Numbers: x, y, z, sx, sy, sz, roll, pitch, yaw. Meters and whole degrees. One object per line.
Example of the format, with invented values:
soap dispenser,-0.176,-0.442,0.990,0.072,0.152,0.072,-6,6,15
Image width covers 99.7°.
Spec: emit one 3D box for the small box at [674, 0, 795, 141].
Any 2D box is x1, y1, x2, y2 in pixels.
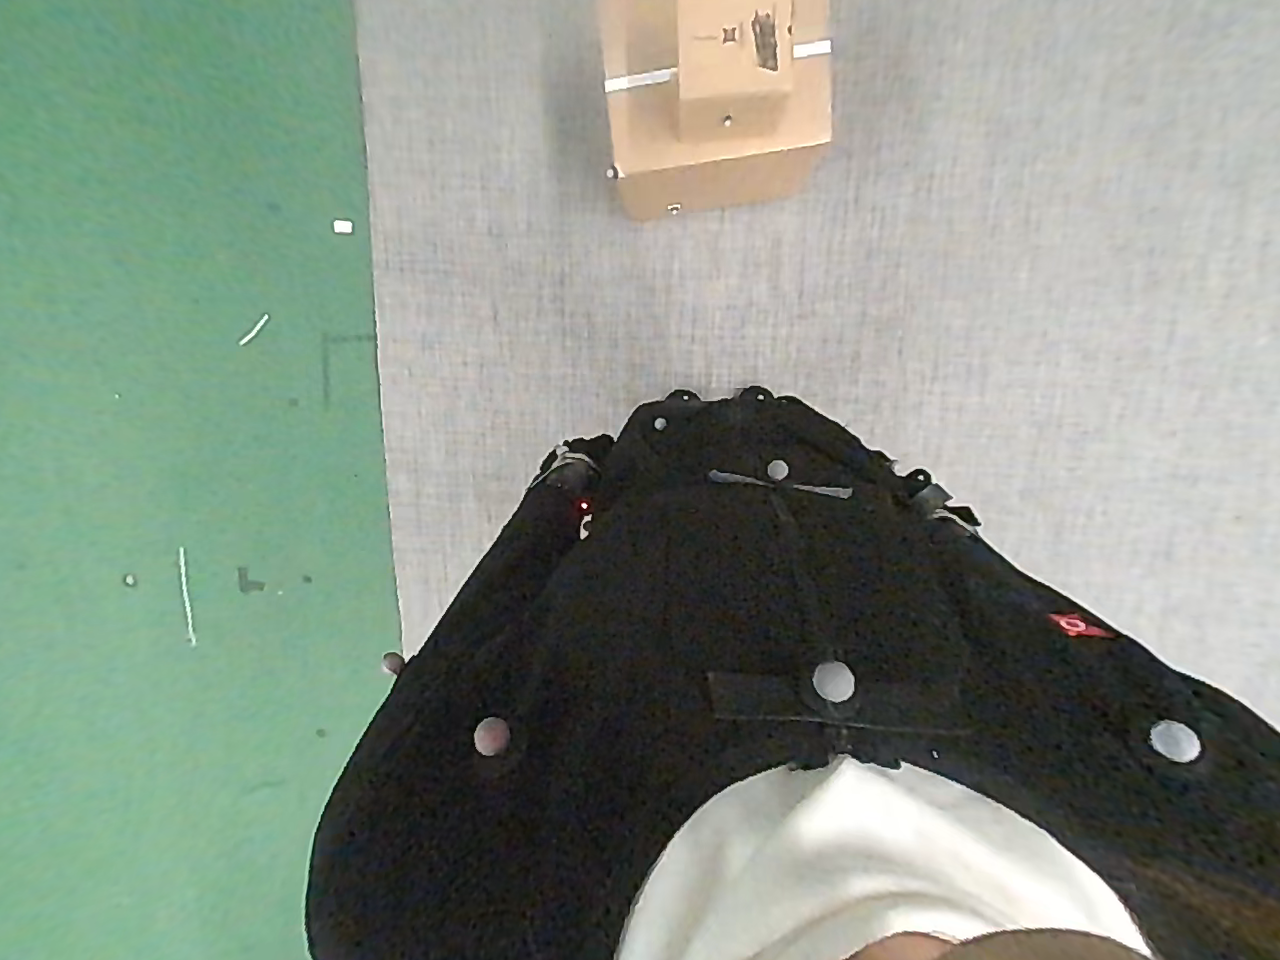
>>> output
small box,0.149,-0.689,0.895,0.179,0.176,0.168,-4,102,5
